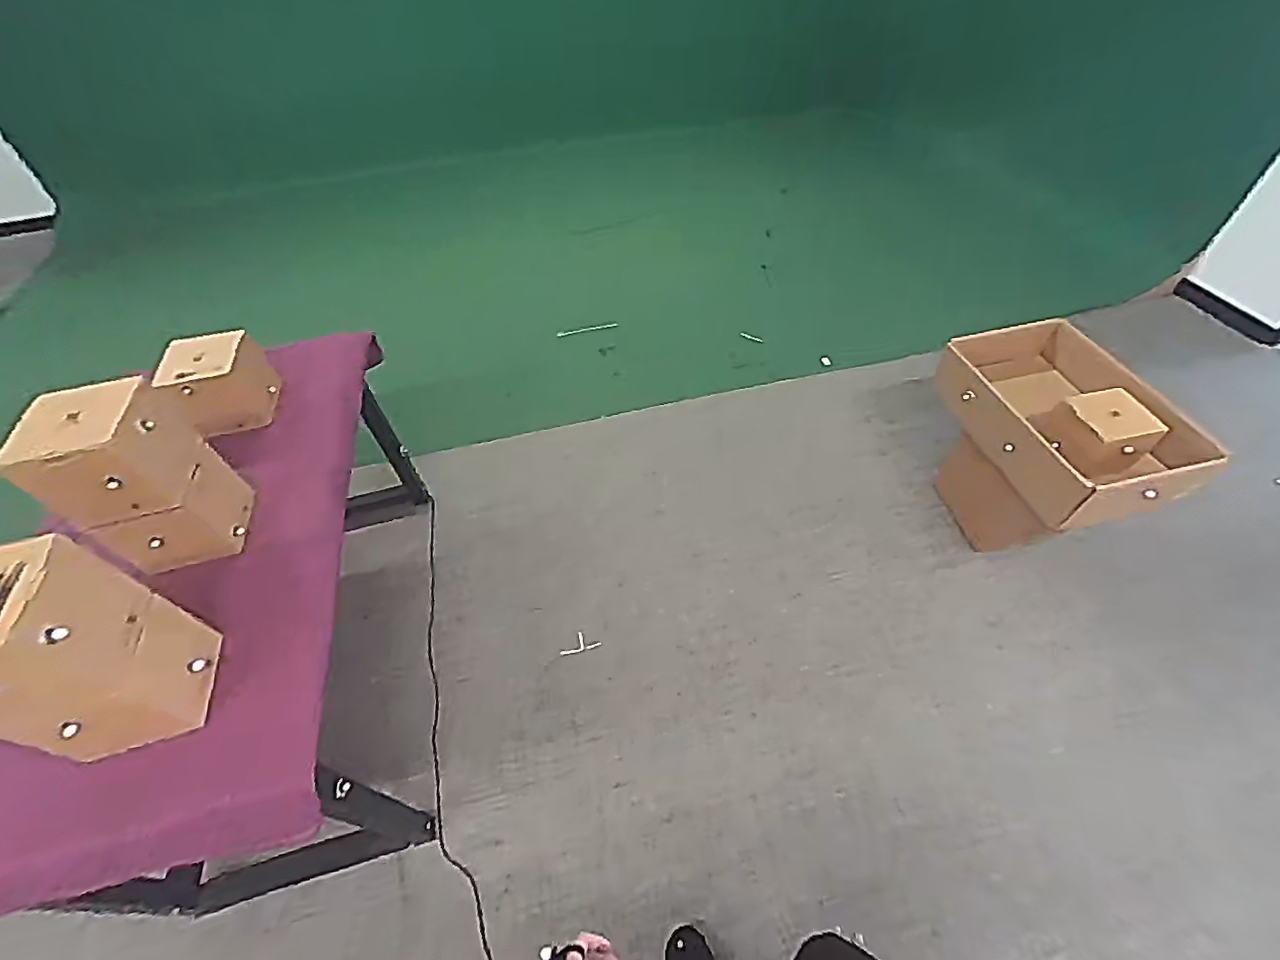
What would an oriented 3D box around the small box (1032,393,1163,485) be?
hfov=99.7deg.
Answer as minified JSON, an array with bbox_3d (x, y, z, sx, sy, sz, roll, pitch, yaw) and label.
[{"bbox_3d":[1.228,-0.108,1.467,0.179,0.176,0.168,-11,51,-5],"label":"small box"}]

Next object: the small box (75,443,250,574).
[{"bbox_3d":[-0.908,0.059,1.053,0.179,0.176,0.168,-14,50,-7],"label":"small box"}]

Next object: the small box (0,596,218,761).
[{"bbox_3d":[-0.812,0.310,0.835,0.179,0.176,0.168,-15,51,-9],"label":"small box"}]

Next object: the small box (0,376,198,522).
[{"bbox_3d":[-0.912,-0.046,0.929,0.168,0.176,0.179,-13,50,-8],"label":"small box"}]

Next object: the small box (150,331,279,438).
[{"bbox_3d":[-1.006,-0.228,1.300,0.168,0.176,0.179,-13,51,-7],"label":"small box"}]
